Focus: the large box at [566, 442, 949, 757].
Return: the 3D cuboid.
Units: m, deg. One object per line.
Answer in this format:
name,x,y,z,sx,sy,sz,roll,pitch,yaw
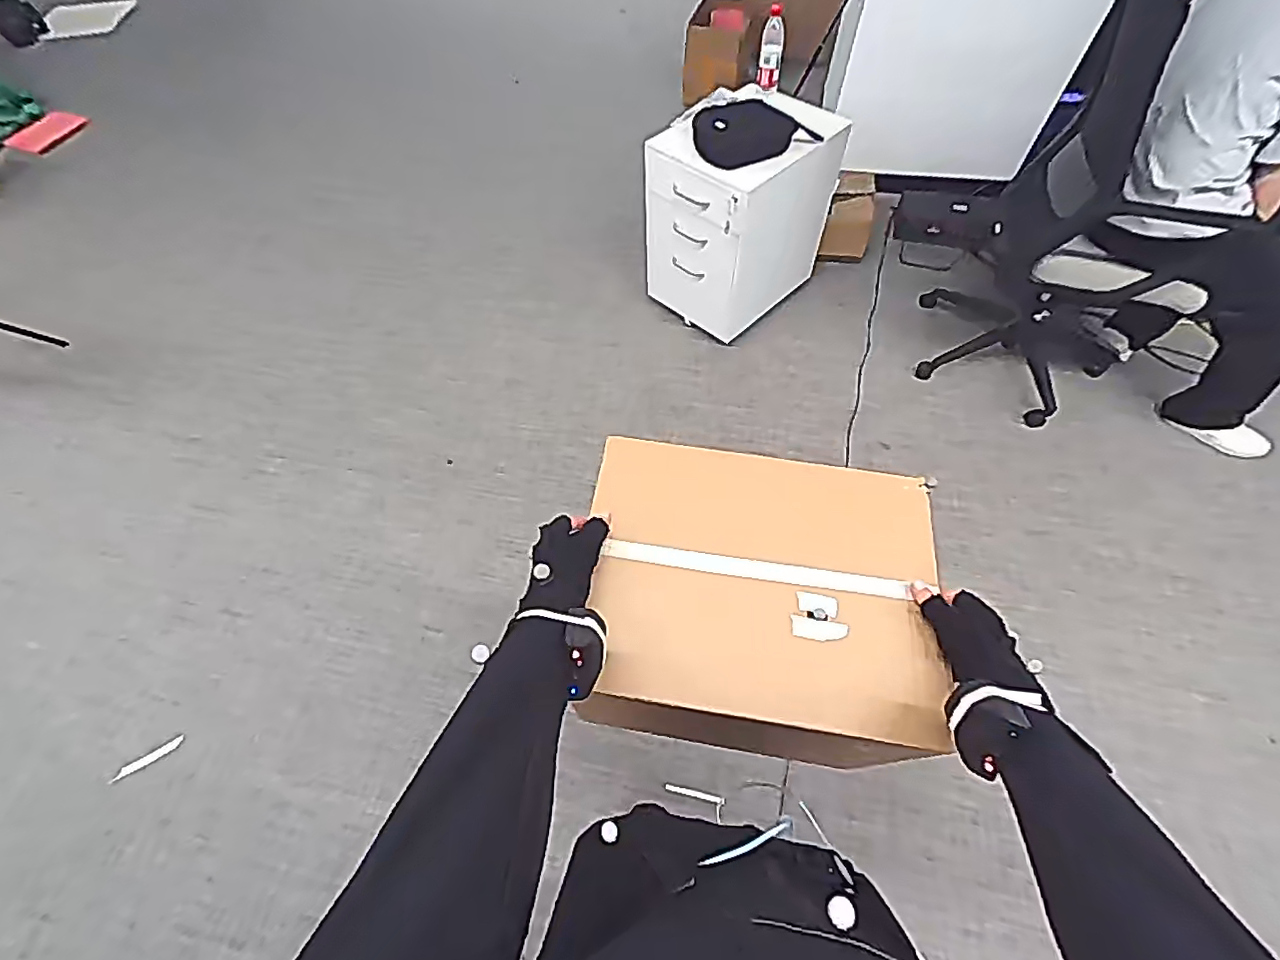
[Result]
large box,0.135,0.179,0.756,0.408,0.320,0.320,9,61,4
